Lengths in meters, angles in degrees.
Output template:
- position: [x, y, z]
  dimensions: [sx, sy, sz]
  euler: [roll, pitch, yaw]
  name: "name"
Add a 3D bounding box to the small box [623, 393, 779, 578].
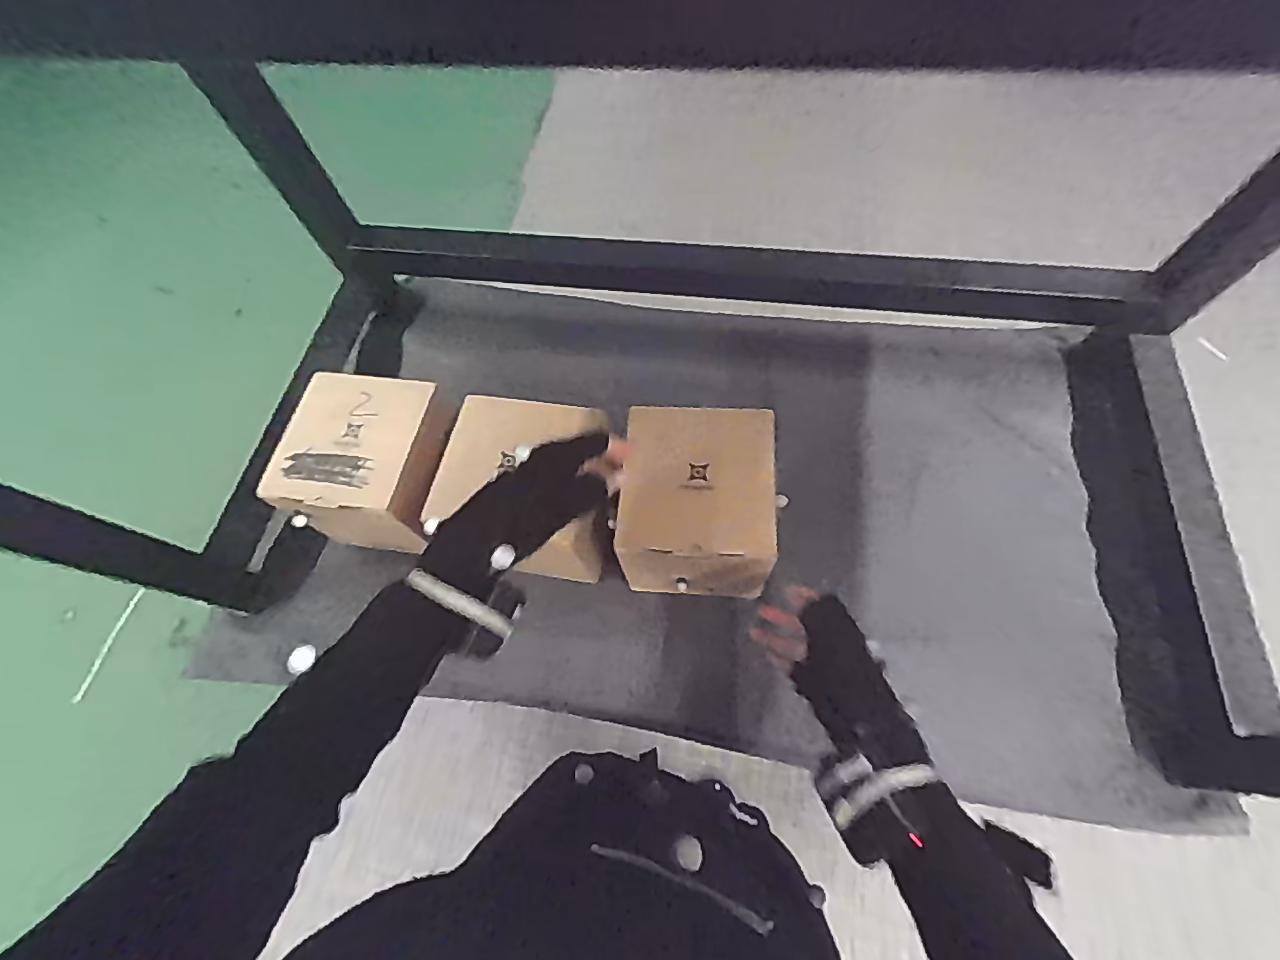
- position: [0.075, 0.012, 0.666]
  dimensions: [0.168, 0.176, 0.179]
  euler: [2, 67, 7]
  name: "small box"
